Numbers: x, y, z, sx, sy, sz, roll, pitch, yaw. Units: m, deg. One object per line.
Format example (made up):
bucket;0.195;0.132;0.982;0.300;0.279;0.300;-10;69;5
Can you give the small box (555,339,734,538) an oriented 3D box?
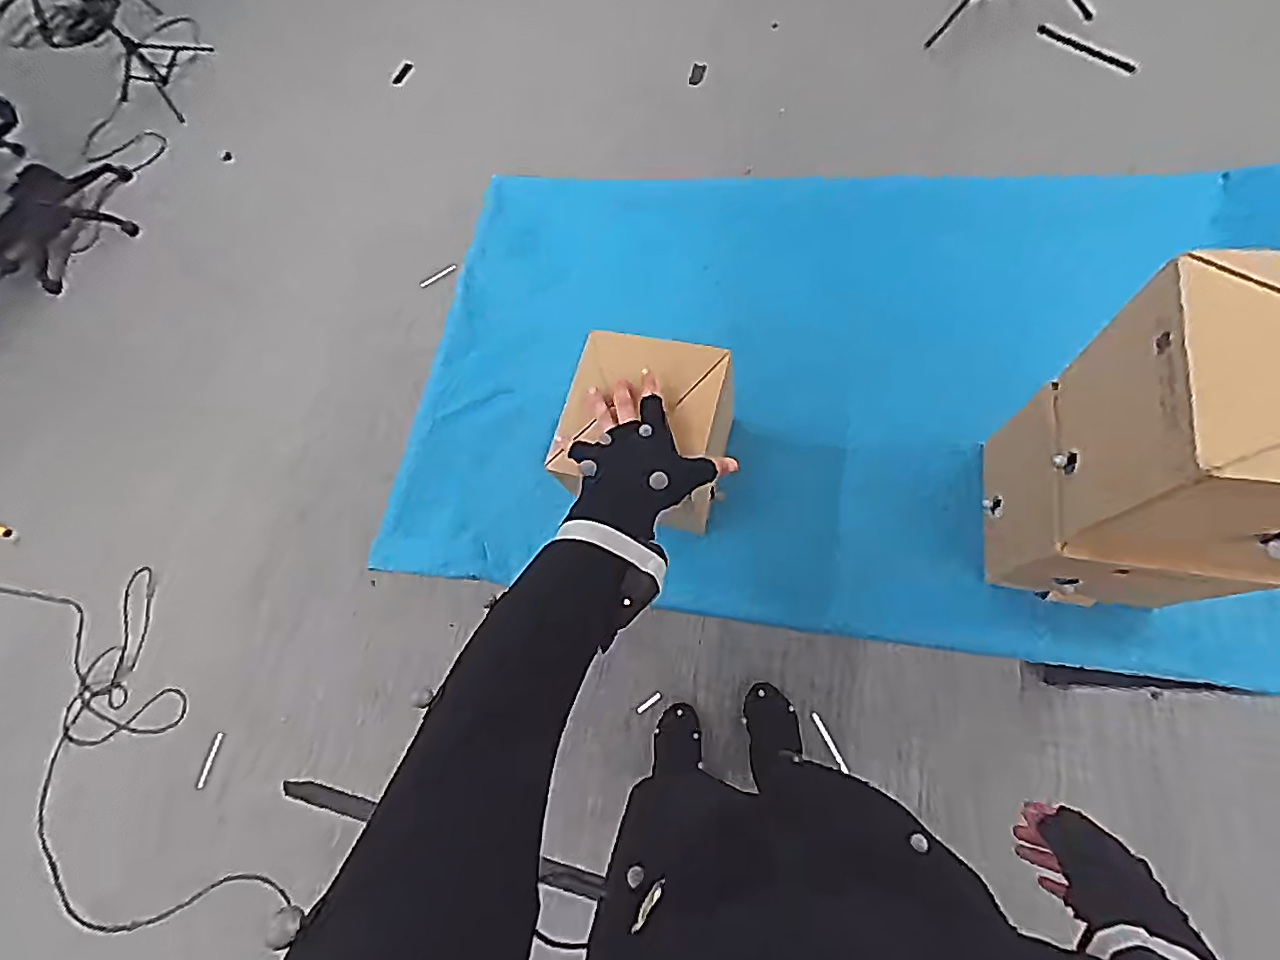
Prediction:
small box;0.014;-0.046;0.661;0.168;0.176;0.179;12;74;14

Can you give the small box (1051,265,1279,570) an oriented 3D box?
small box;0.443;-0.039;0.398;0.179;0.176;0.168;7;71;16

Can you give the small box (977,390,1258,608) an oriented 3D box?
small box;0.466;0.021;0.549;0.168;0.176;0.179;6;72;13
